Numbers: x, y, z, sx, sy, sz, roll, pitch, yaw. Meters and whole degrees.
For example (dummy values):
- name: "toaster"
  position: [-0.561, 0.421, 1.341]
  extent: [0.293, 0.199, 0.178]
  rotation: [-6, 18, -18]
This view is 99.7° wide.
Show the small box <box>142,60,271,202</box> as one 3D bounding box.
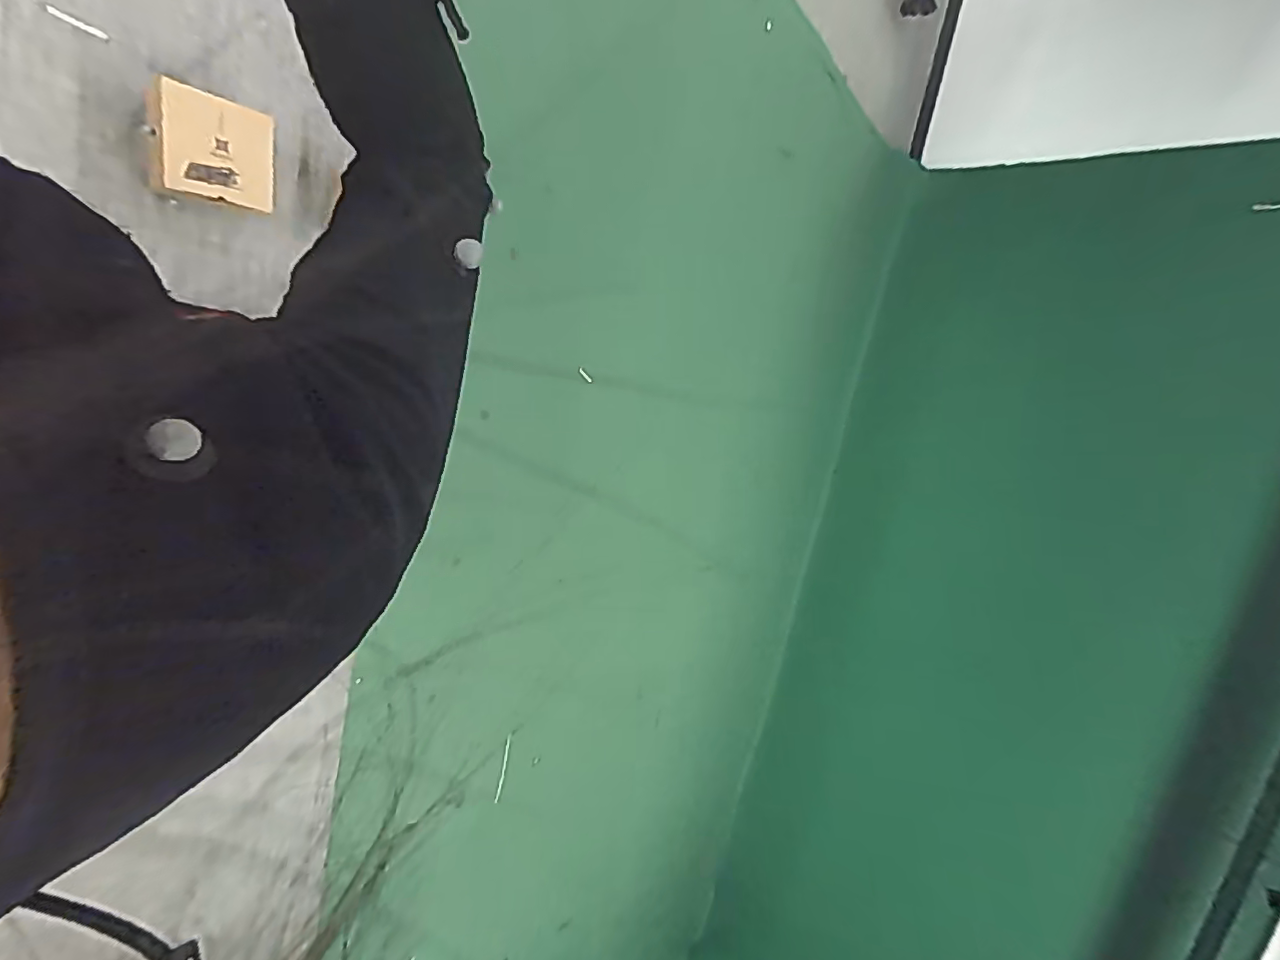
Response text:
- name: "small box"
  position: [-0.827, -0.647, 1.032]
  extent: [0.168, 0.176, 0.179]
  rotation: [-6, 110, -49]
